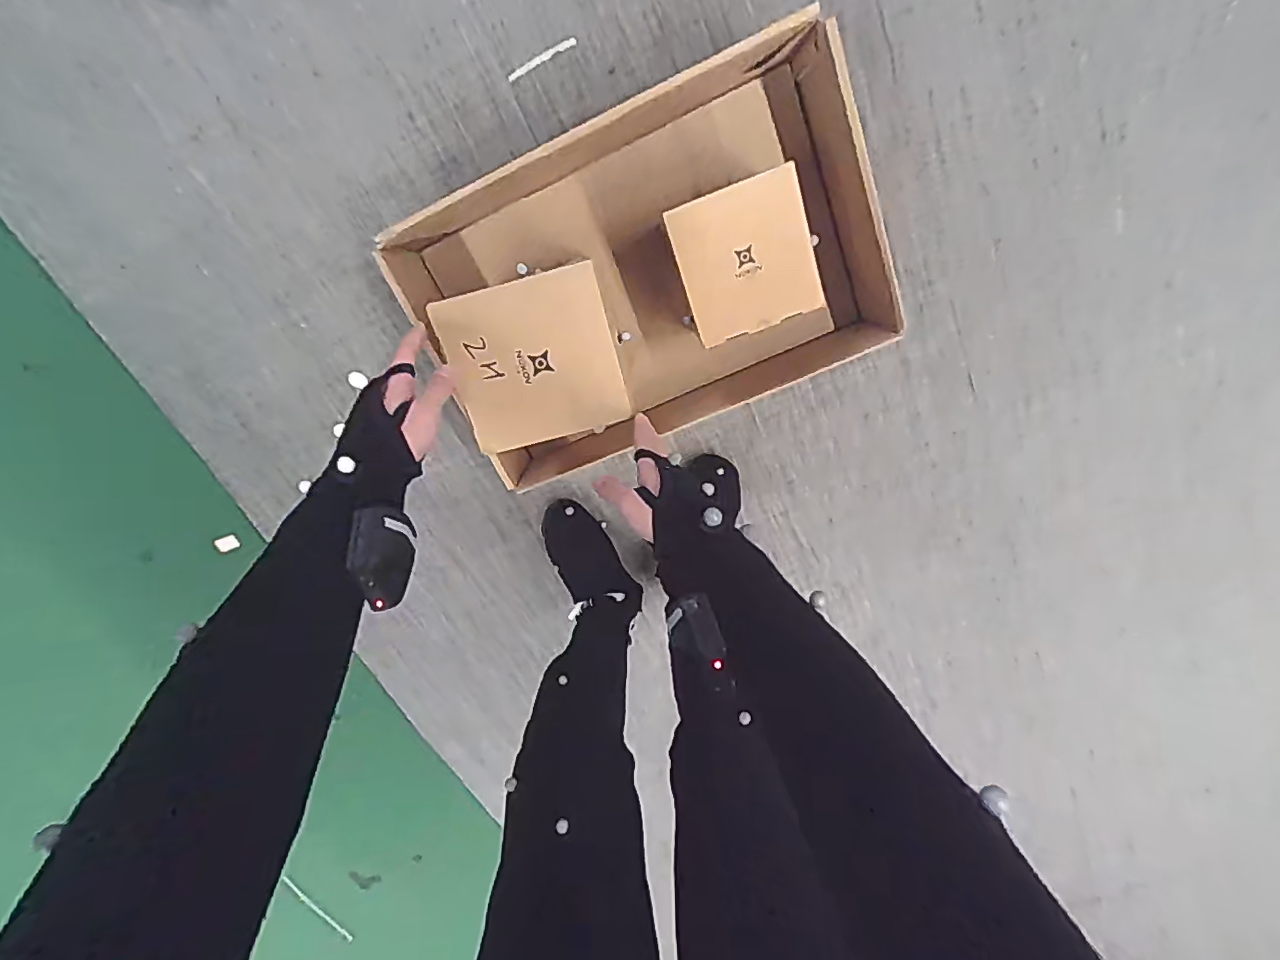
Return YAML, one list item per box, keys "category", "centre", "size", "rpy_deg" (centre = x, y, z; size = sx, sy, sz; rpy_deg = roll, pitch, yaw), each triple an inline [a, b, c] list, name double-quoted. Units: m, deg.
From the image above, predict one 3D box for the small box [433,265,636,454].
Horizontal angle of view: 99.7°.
- category: "small box"
  centre: [-0.107, -0.149, 0.636]
  size: [0.179, 0.176, 0.168]
  rpy_deg: [-13, 110, 5]
